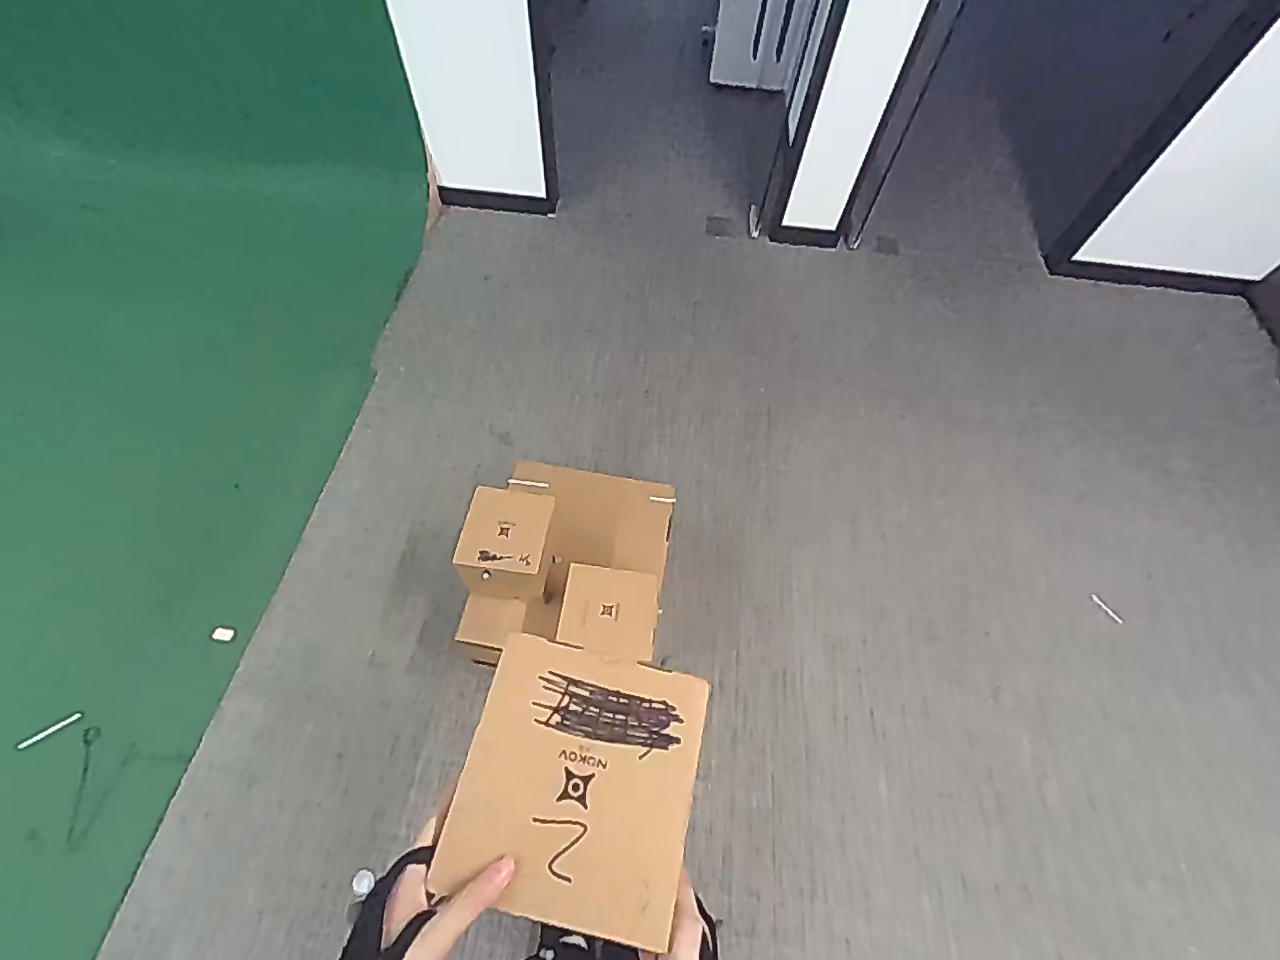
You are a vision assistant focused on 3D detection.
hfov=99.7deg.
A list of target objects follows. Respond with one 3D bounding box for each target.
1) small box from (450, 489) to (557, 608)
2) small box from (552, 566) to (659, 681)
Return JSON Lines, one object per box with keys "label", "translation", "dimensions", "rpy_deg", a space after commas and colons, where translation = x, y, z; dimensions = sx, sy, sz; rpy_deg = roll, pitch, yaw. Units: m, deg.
{"label": "small box", "translation": [-0.270, 0.144, 1.120], "dimensions": [0.168, 0.176, 0.179], "rpy_deg": [8, 57, 1]}
{"label": "small box", "translation": [-0.064, 0.284, 1.049], "dimensions": [0.179, 0.176, 0.168], "rpy_deg": [8, 58, 0]}
